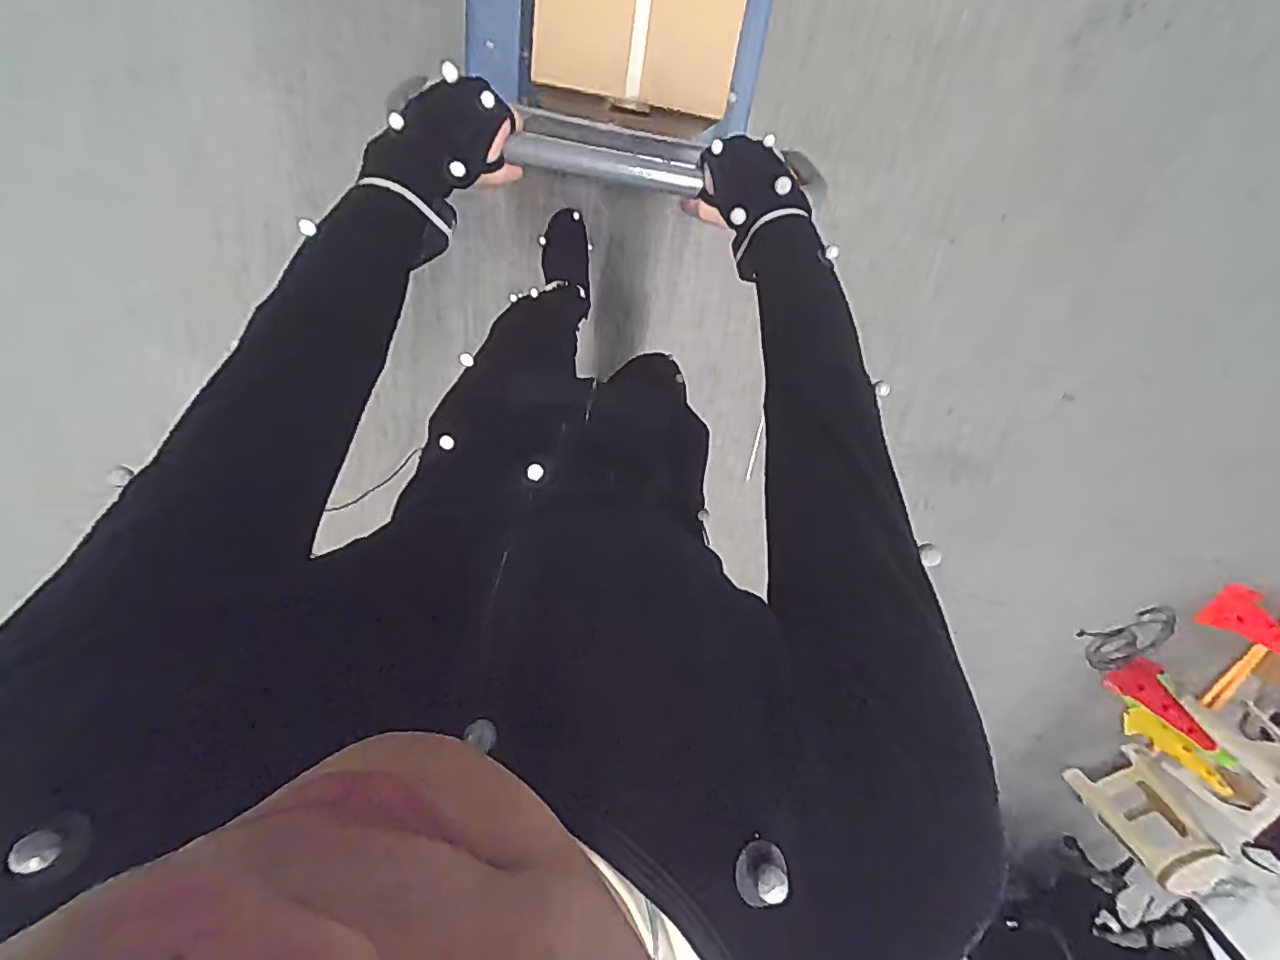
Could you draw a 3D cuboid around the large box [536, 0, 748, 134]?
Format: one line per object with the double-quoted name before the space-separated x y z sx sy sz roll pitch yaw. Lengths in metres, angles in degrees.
"large box" 0.008 -0.852 0.904 0.320 0.320 0.408 6 116 -9
